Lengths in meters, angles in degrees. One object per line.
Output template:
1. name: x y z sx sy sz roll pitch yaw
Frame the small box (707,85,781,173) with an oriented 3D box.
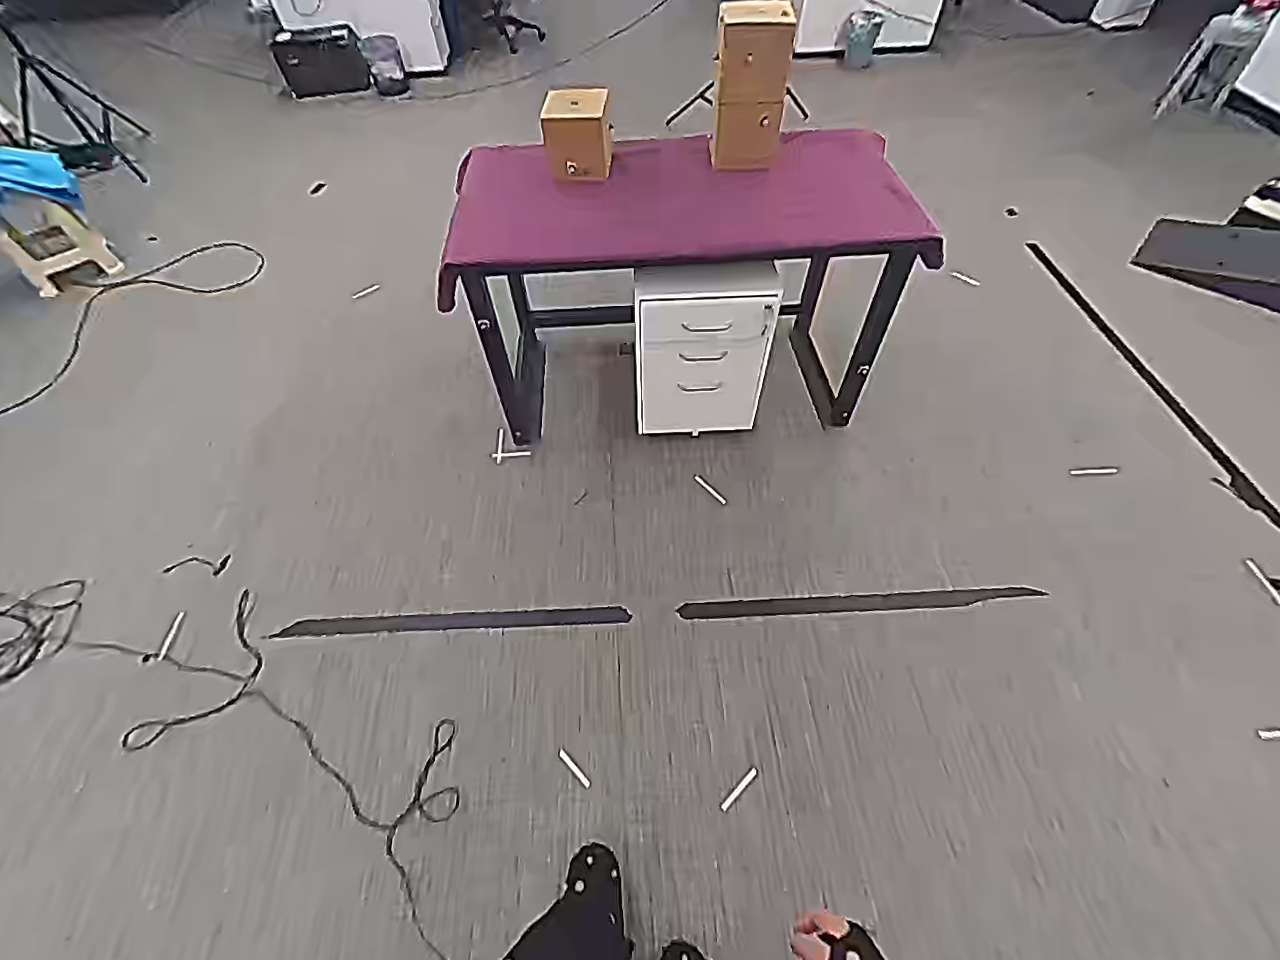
1. small box: 0.287 -0.991 1.526 0.179 0.176 0.168 -1 54 2

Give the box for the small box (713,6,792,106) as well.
1. small box: 0.281 -1.088 1.394 0.179 0.176 0.168 0 55 3

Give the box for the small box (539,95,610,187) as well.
1. small box: -0.175 -0.946 1.511 0.168 0.176 0.179 0 56 4
